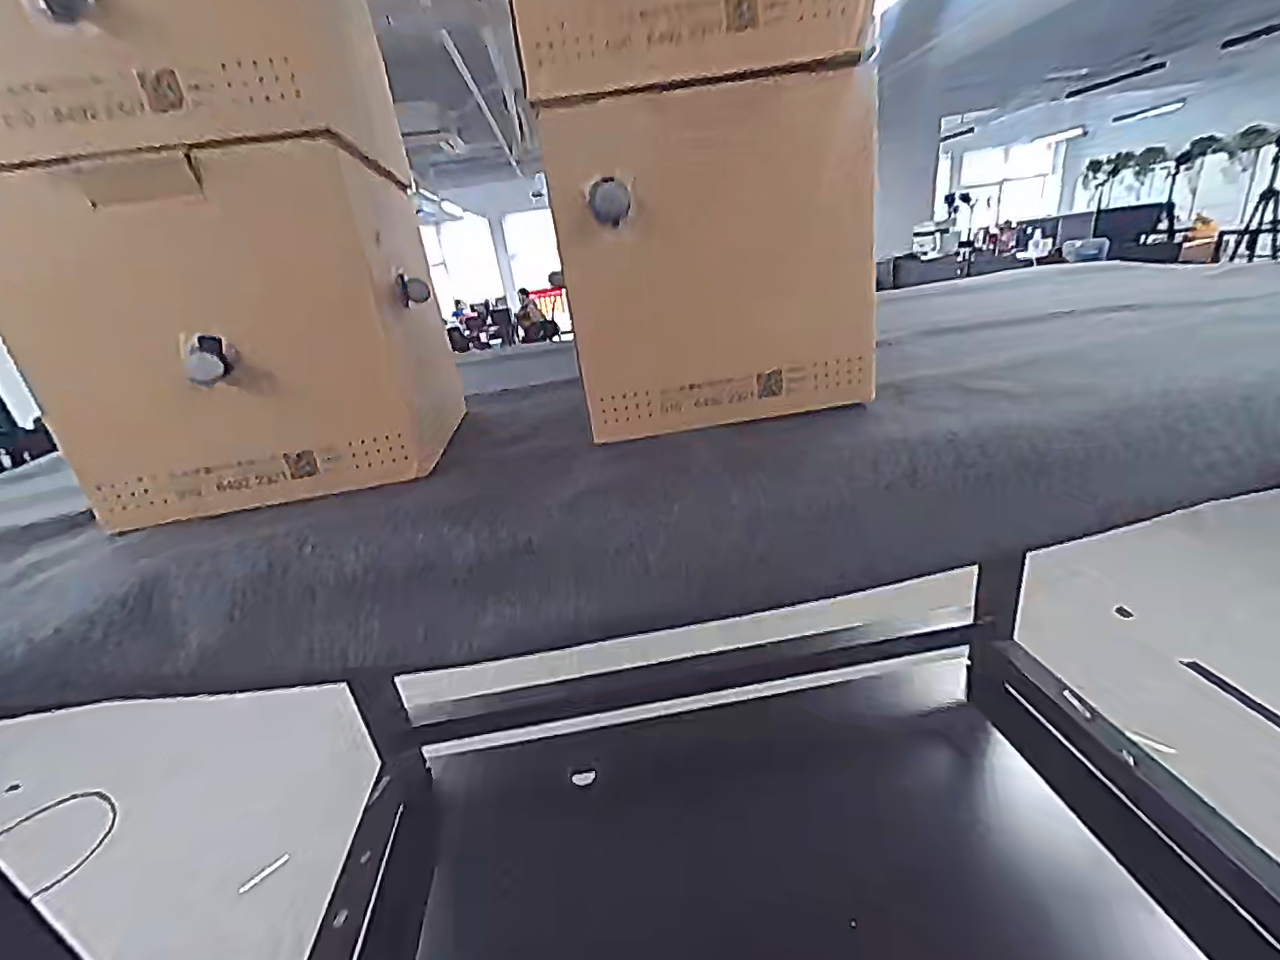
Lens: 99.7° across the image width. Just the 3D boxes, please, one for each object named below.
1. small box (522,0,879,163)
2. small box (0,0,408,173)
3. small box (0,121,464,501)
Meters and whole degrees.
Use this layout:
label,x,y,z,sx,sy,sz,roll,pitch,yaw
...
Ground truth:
label,x,y,z,sx,sy,sz,roll,pitch,yaw
small box,0.021,-0.294,0.302,0.168,0.176,0.179,-7,20,2
small box,-0.237,-0.249,0.277,0.168,0.176,0.179,-11,21,-6
small box,-0.217,-0.095,0.334,0.168,0.176,0.179,-10,22,-7
